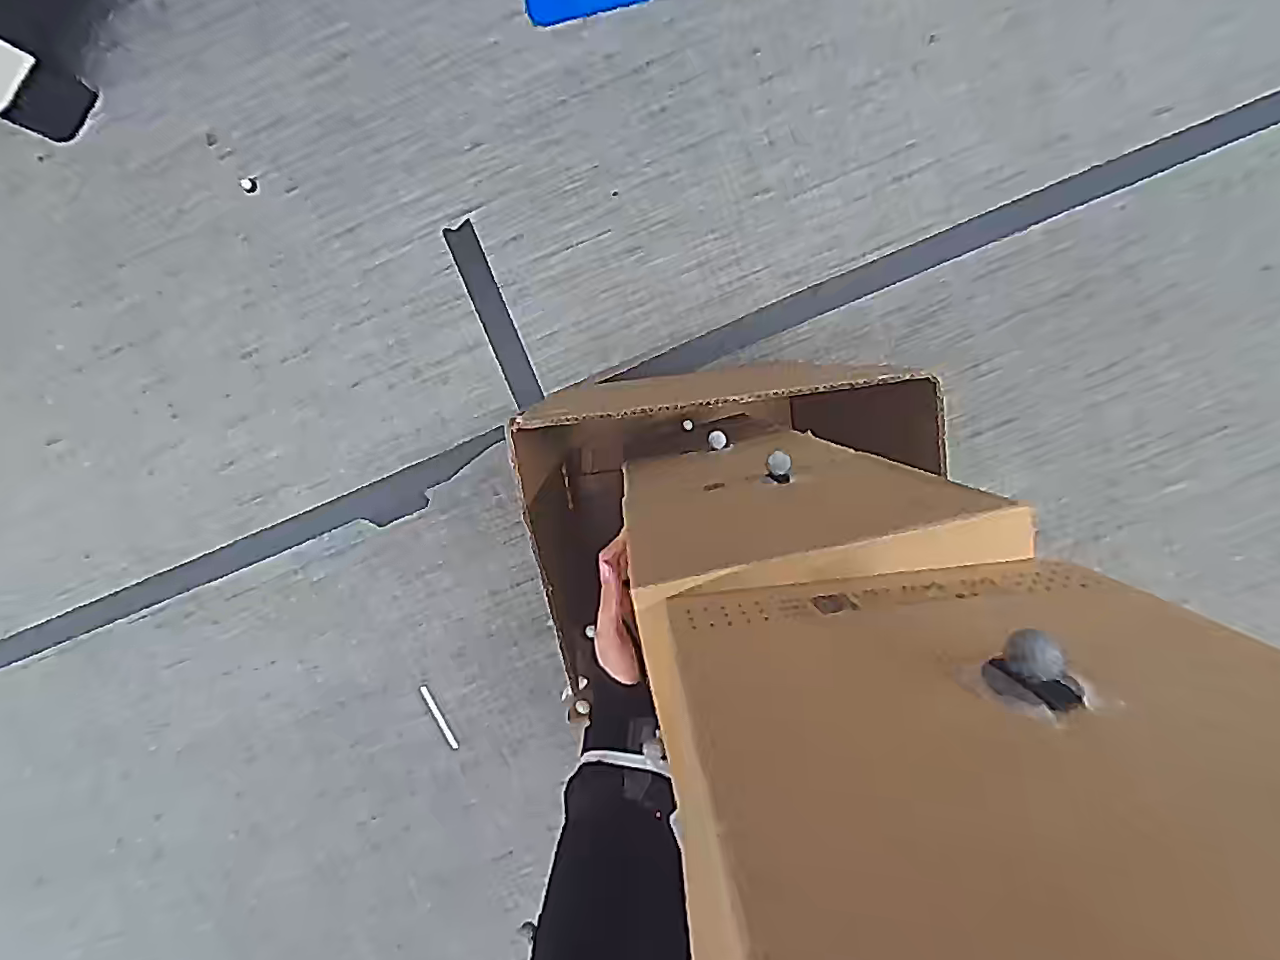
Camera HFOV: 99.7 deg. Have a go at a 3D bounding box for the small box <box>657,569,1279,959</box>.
[{"bbox_3d":[0.097,0.133,0.154,0.168,0.176,0.179,-5,101,-2],"label":"small box"}]

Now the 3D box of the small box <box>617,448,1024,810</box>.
[{"bbox_3d":[0.085,0.089,0.312,0.168,0.176,0.179,-12,100,0],"label":"small box"}]
